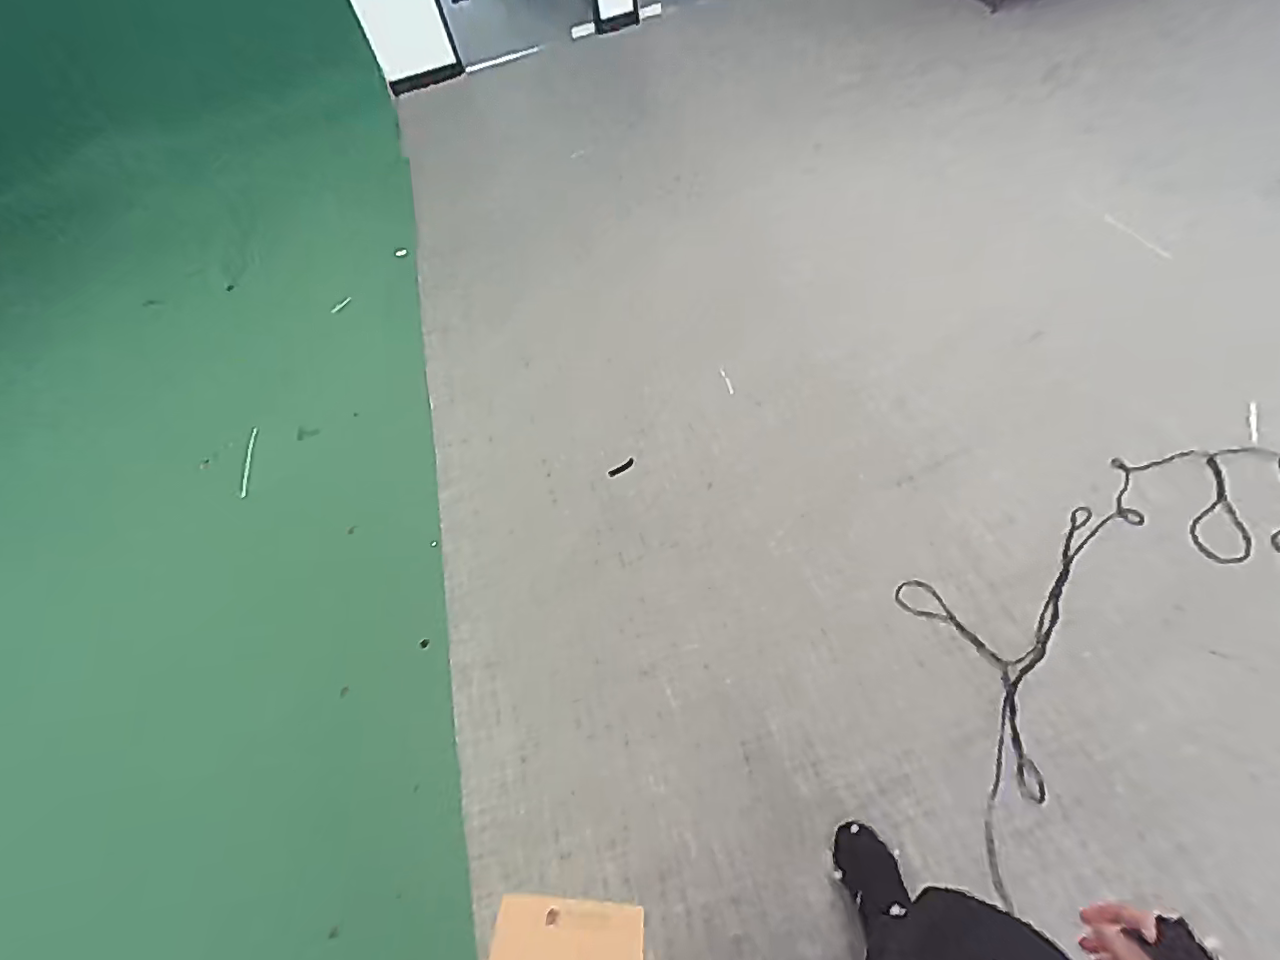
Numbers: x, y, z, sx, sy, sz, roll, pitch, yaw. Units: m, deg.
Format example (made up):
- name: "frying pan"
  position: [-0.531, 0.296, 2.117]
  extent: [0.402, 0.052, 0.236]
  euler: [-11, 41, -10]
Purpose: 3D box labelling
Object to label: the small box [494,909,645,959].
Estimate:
- name: "small box"
  position: [-0.084, 0.600, 0.588]
  extent: [0.168, 0.179, 0.176]
  euler: [6, 33, -4]
